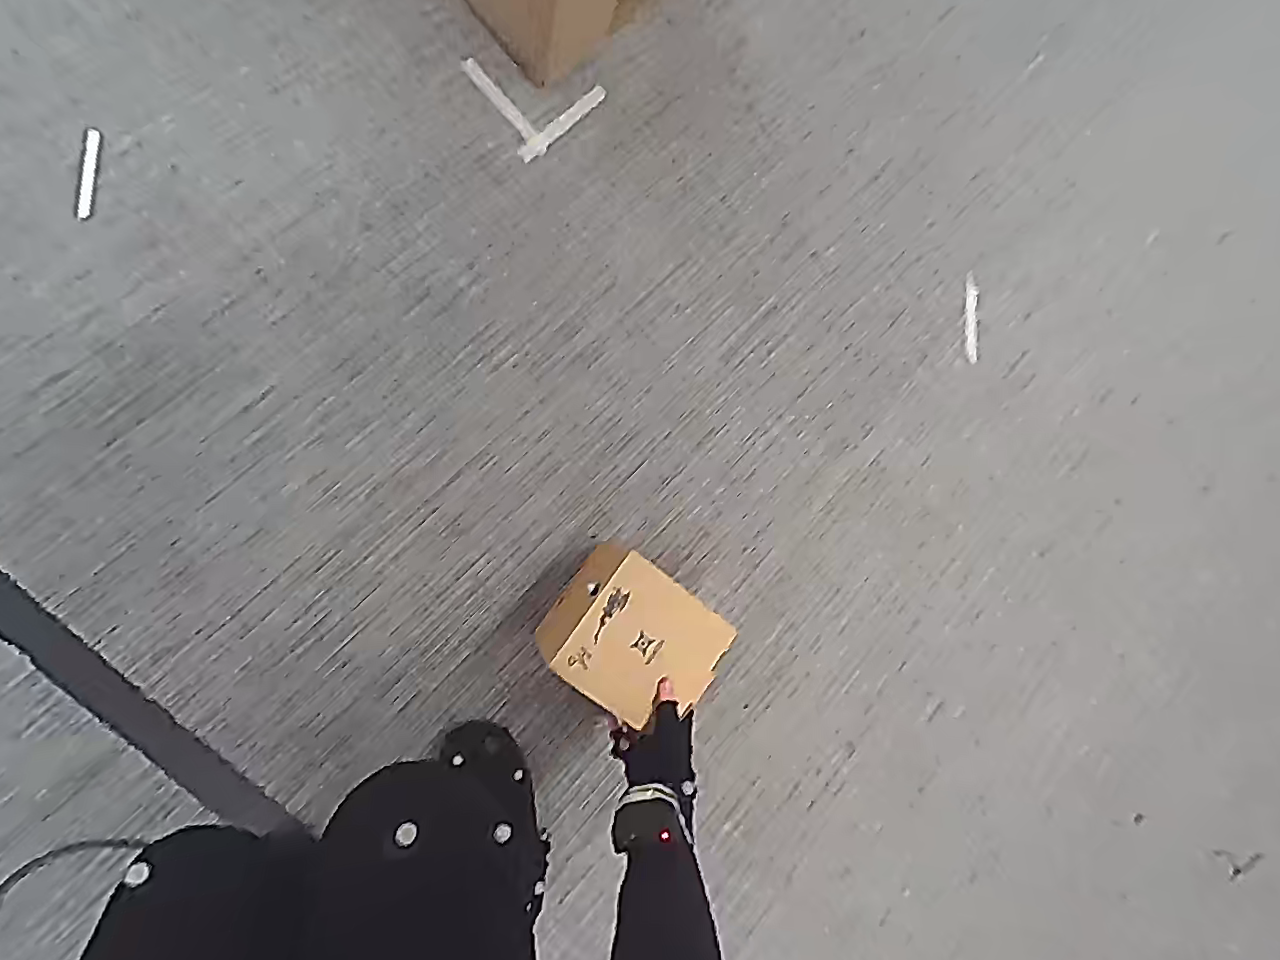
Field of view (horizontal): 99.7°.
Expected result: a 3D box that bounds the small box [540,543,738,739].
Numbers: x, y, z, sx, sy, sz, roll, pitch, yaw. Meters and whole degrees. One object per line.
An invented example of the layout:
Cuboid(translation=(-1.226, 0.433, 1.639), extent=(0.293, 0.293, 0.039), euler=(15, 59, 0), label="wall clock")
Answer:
Cuboid(translation=(-0.011, 0.195, 0.714), extent=(0.179, 0.176, 0.168), euler=(38, 78, -11), label="small box")
